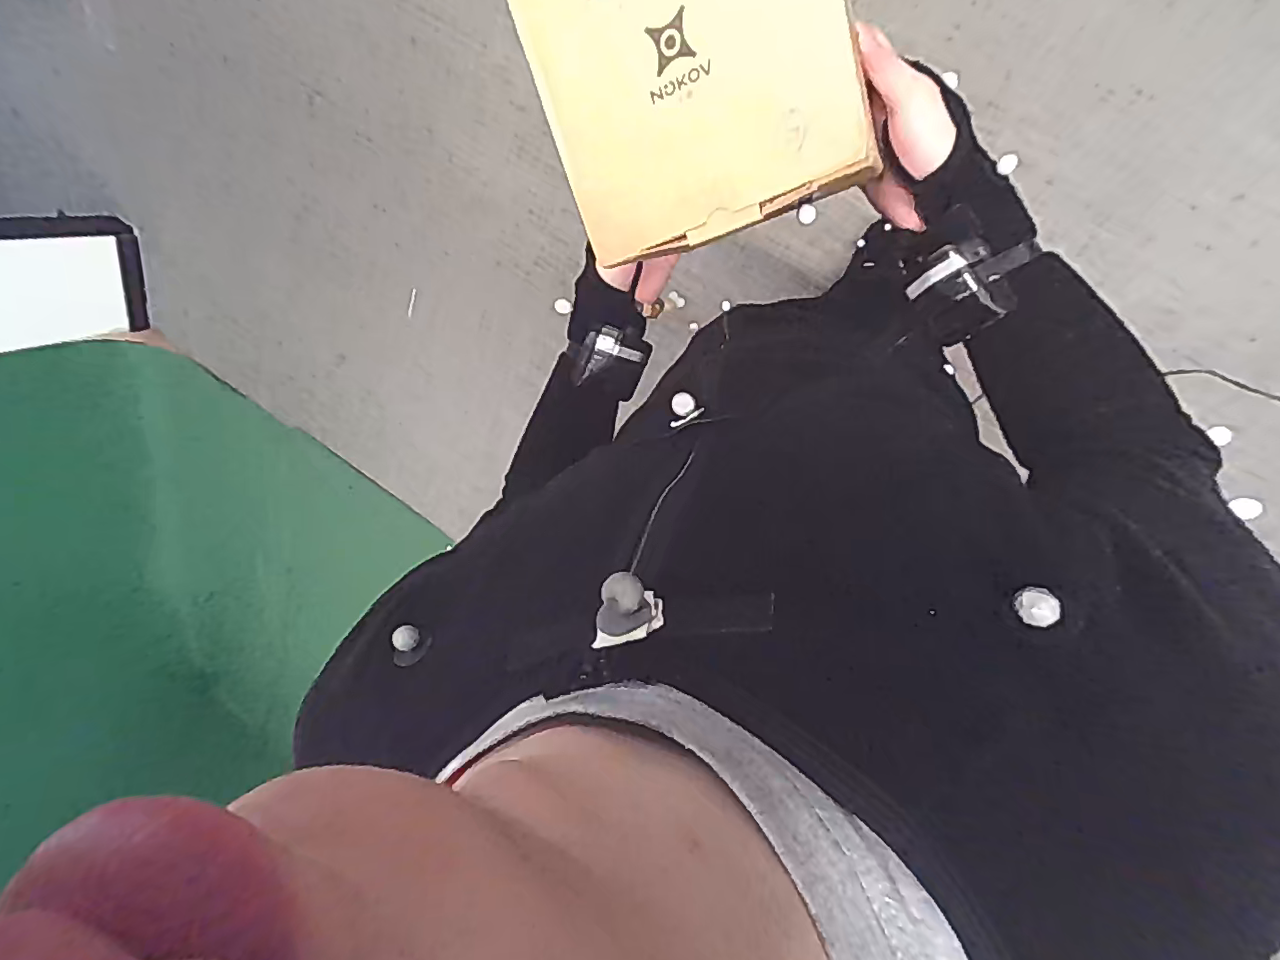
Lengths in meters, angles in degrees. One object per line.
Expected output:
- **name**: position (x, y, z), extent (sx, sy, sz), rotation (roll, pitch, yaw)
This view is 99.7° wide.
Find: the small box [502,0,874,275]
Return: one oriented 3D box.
- **small box**: position (0.047, -0.254, 0.350), extent (0.168, 0.176, 0.179), rotation (-11, 109, 29)
